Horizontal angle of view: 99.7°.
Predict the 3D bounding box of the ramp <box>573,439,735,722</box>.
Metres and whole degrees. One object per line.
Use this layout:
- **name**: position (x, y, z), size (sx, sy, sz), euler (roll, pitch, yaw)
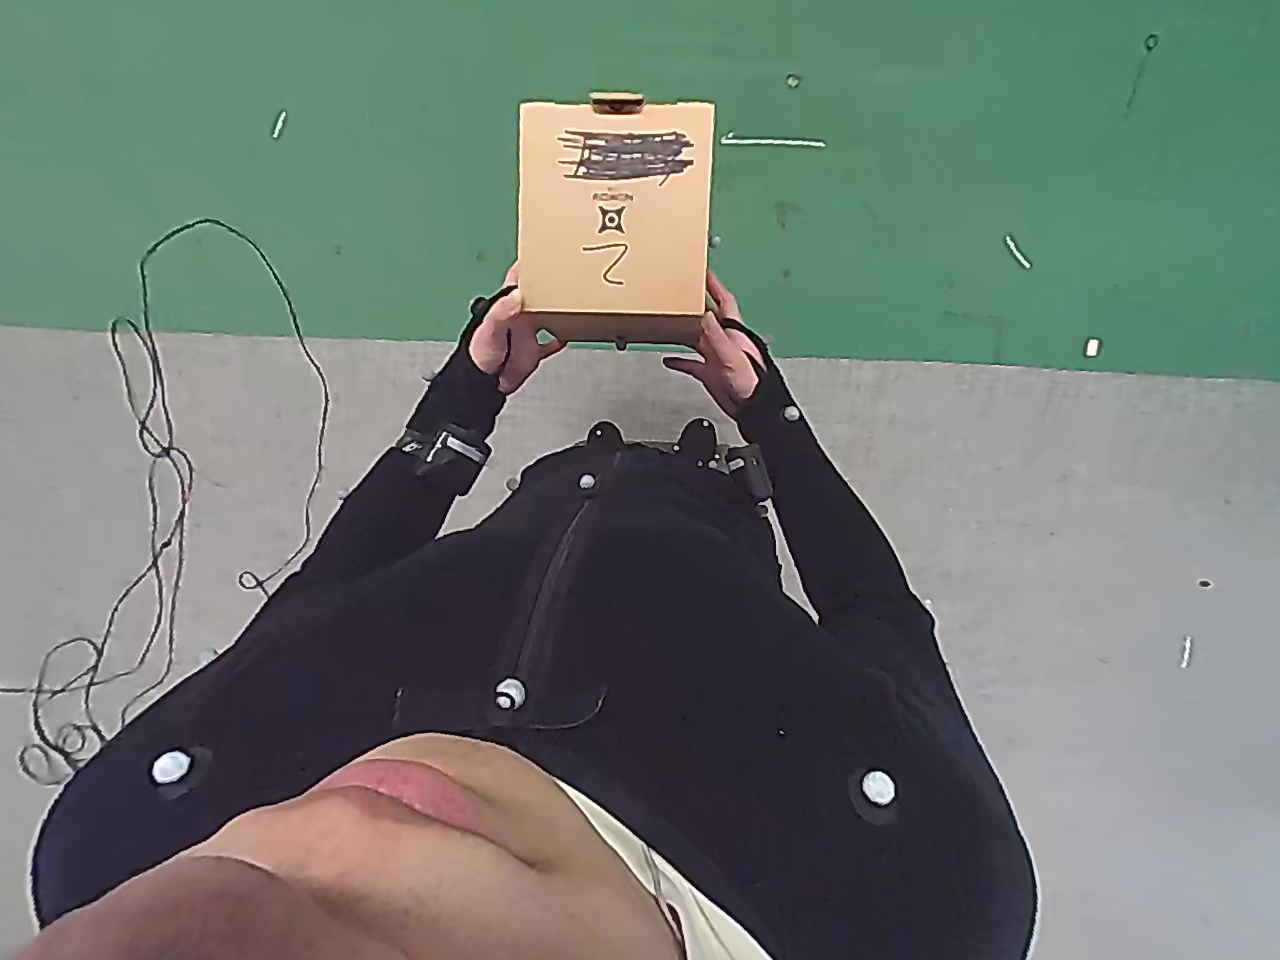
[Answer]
- **ramp**: position (0.036, 0.362, 1.757), size (0.509, 0.206, 0.991), euler (0, 97, 4)
